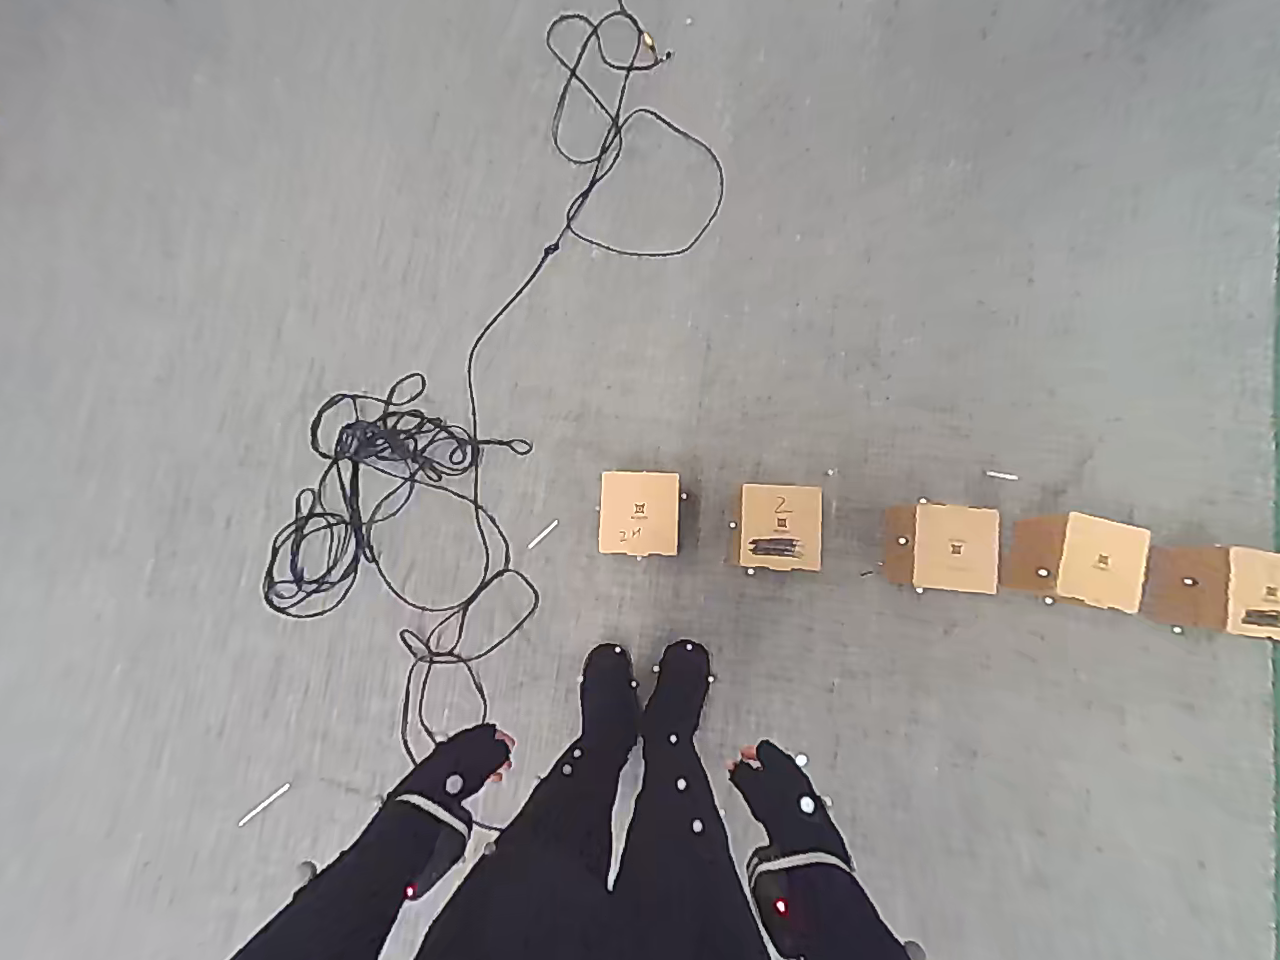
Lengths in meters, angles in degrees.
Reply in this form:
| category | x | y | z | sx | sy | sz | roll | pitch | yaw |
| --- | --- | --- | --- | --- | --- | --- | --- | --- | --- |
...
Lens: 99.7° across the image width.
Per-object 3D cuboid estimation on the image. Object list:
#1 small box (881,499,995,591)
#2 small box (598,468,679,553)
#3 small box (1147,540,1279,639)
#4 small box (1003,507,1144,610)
| category | x | y | z | sx | sy | sz | roll | pitch | yaw |
| --- | --- | --- | --- | --- | --- | --- | --- | --- | --- |
| small box | 0.643 | 0.139 | 1.183 | 0.168 | 0.176 | 0.179 | 5 | 85 | 4 |
| small box | 0.000 | 0.072 | 1.212 | 0.168 | 0.176 | 0.179 | 2 | 84 | 3 |
| small box | 1.240 | 0.229 | 1.154 | 0.168 | 0.176 | 0.179 | 9 | 83 | 3 |
| small box | 0.927 | 0.166 | 1.172 | 0.168 | 0.176 | 0.179 | 14 | 85 | 3 |
